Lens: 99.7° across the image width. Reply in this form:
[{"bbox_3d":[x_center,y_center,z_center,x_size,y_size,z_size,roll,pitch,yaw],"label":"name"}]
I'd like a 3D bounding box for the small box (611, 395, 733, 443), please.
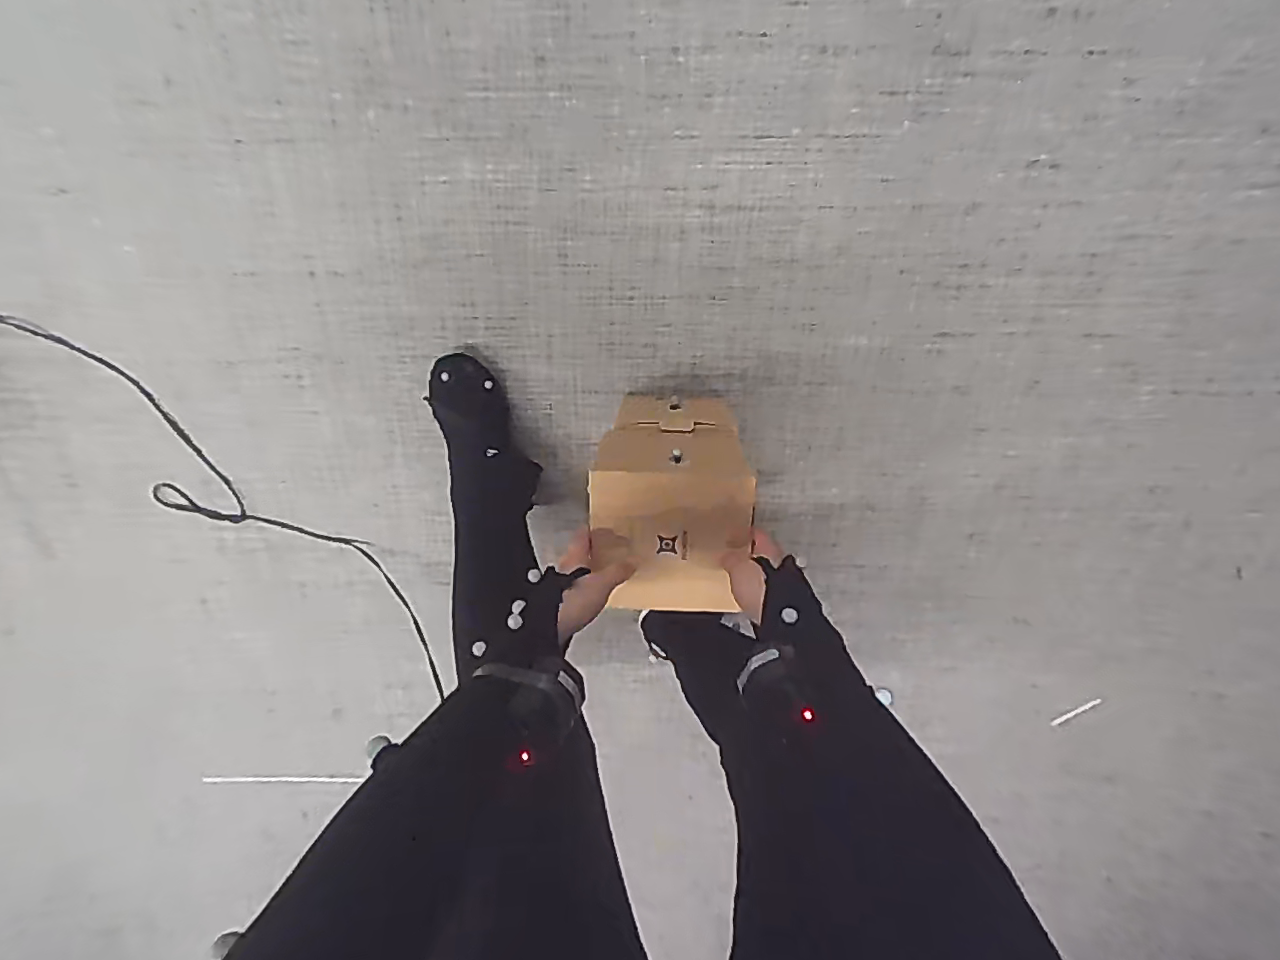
[{"bbox_3d":[0.041,-0.028,0.814,0.168,0.176,0.179,1,111,1],"label":"small box"}]

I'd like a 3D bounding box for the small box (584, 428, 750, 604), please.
[{"bbox_3d":[0.029,0.035,0.661,0.179,0.176,0.168,1,108,2],"label":"small box"}]
